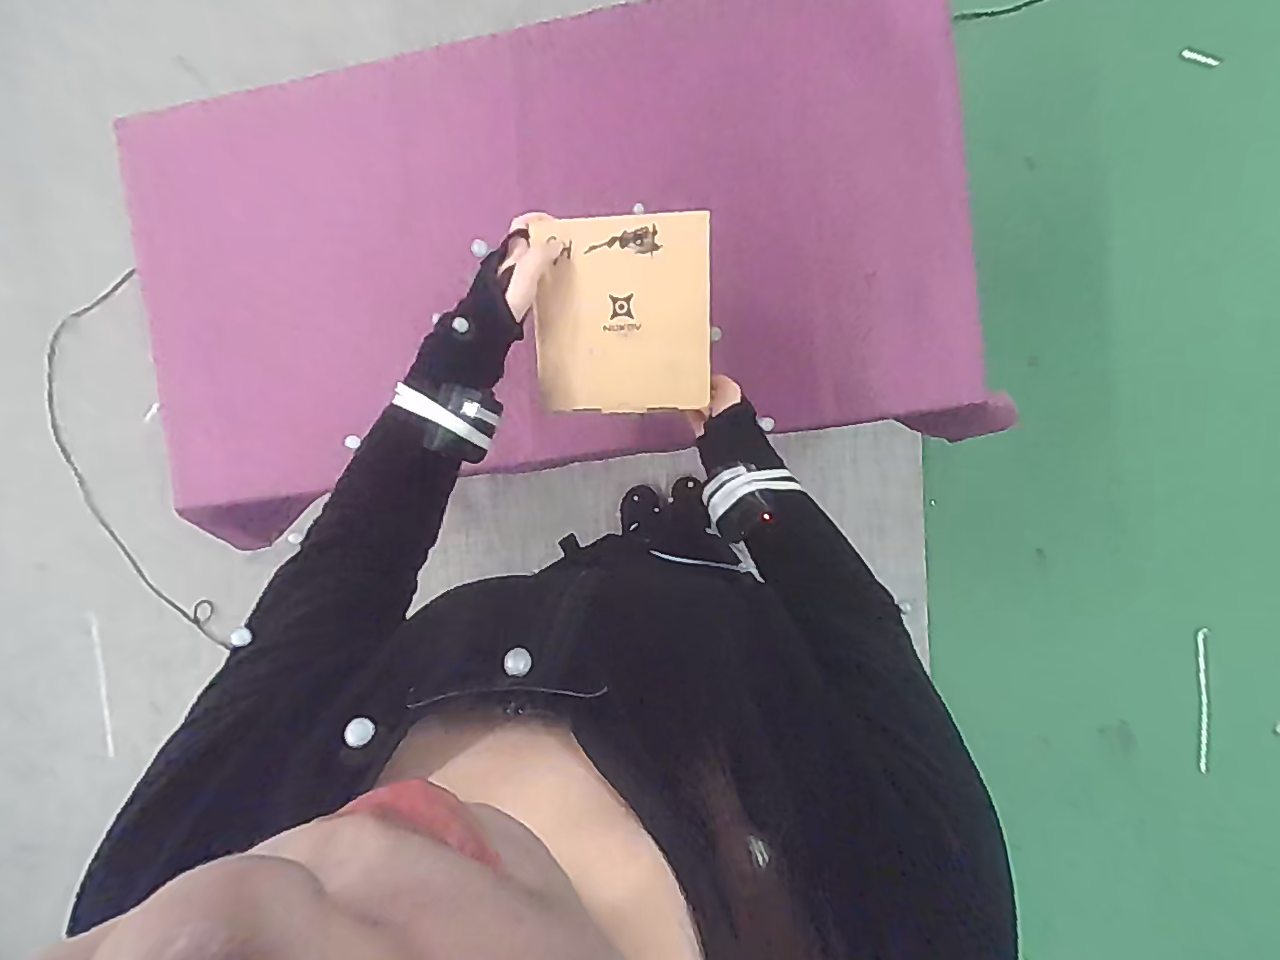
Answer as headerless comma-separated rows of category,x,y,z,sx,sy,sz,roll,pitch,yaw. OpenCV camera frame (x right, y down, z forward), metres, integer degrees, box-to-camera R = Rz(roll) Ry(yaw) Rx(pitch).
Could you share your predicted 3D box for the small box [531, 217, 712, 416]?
small box,-0.010,-0.165,0.575,0.168,0.176,0.179,1,103,5
